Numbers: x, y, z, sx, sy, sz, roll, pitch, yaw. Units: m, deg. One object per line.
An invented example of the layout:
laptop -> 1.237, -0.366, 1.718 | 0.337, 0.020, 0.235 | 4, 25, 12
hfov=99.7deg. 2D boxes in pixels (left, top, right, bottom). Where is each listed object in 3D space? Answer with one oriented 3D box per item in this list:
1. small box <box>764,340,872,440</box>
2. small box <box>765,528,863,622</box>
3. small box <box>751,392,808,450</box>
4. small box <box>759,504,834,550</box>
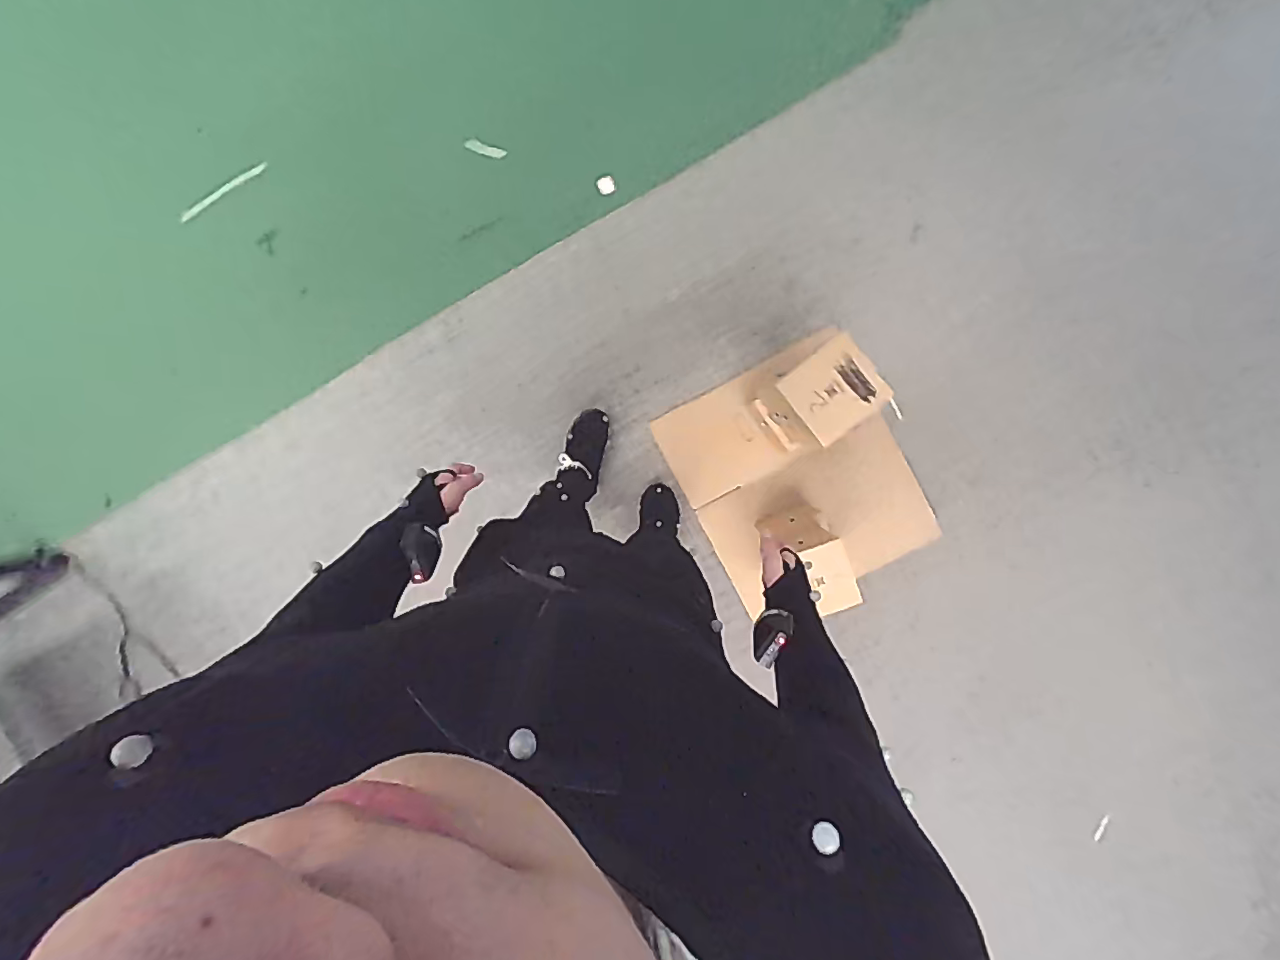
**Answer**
small box -> 0.417, -0.209, 1.309 | 0.179, 0.176, 0.168 | -34, 92, 5
small box -> 0.419, 0.230, 1.341 | 0.179, 0.176, 0.168 | -19, 93, 4
small box -> 0.424, -0.197, 1.475 | 0.179, 0.176, 0.168 | -35, 91, 5
small box -> 0.441, 0.179, 1.502 | 0.179, 0.176, 0.168 | -23, 92, 4
